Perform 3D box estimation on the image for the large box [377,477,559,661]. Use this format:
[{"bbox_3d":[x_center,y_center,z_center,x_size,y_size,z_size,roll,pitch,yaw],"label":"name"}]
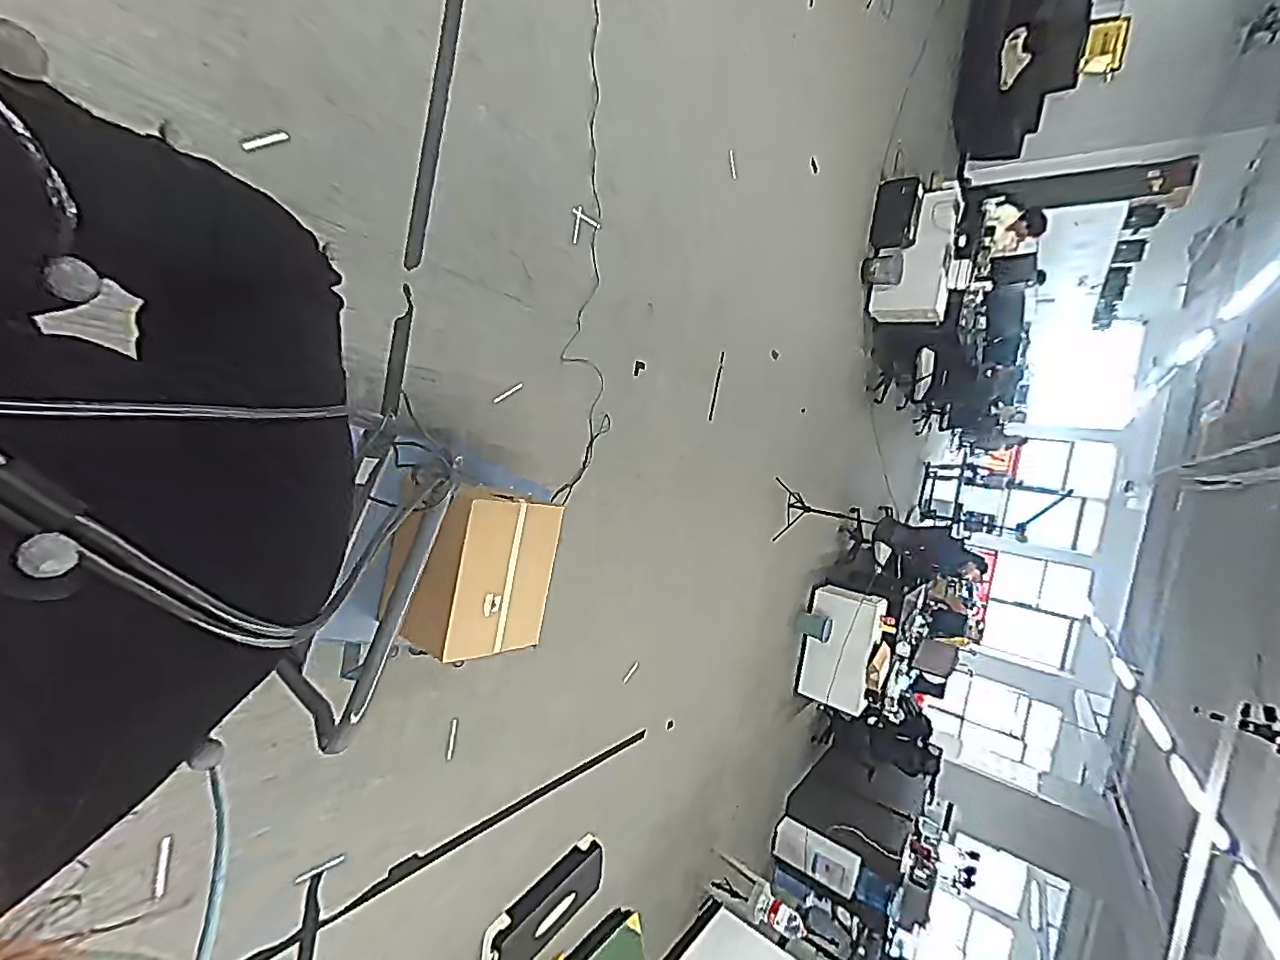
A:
[{"bbox_3d":[-0.468,0.222,1.479,0.320,0.320,0.408,10,92,-53],"label":"large box"}]
